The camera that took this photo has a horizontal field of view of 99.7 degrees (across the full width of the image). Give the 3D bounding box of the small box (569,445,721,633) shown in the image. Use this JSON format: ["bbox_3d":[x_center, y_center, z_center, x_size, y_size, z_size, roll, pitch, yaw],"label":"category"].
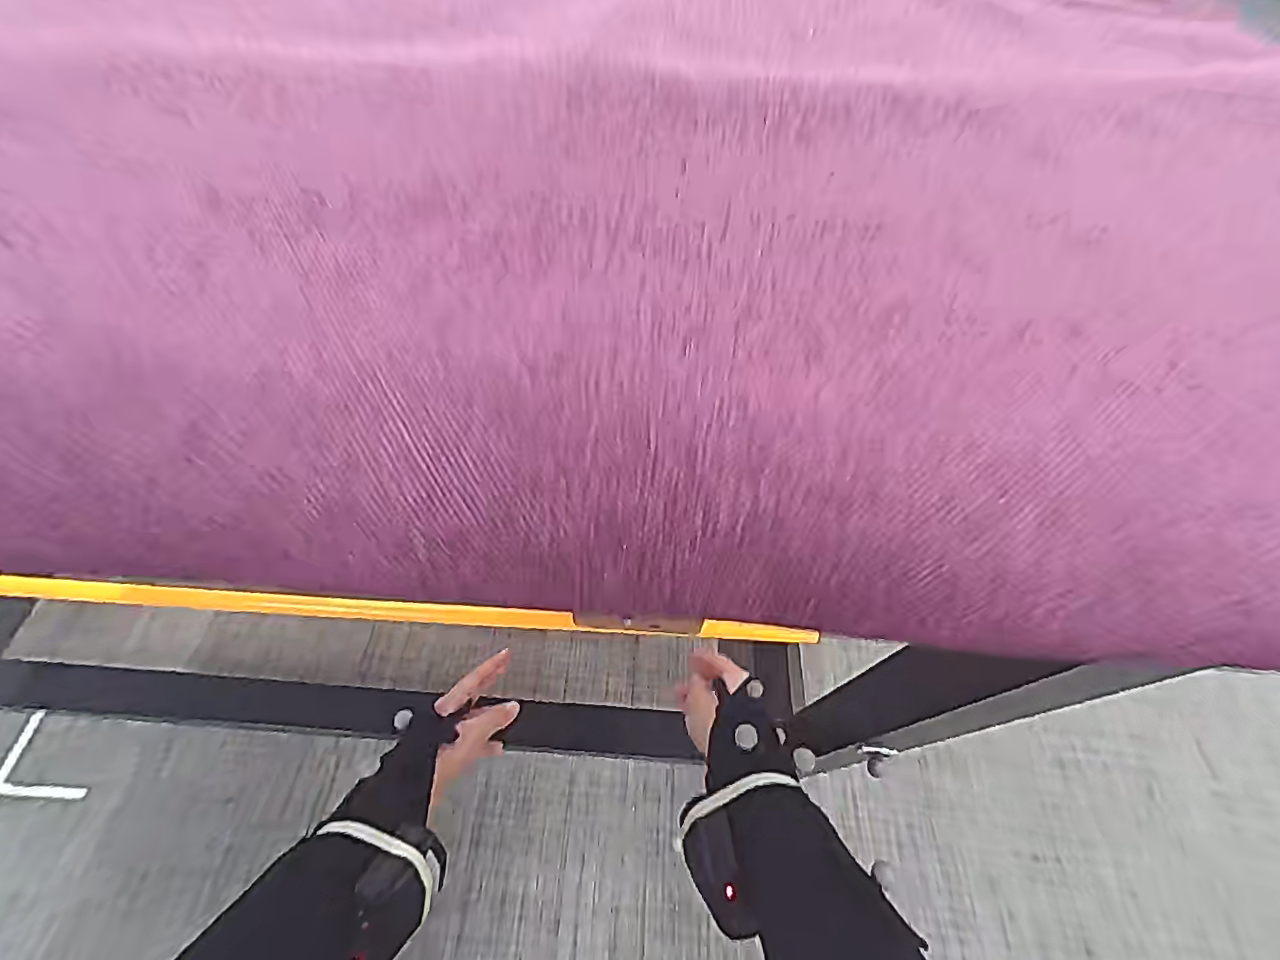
[{"bbox_3d":[0.006,0.079,0.684,0.168,0.176,0.179,4,58,-1],"label":"small box"}]
